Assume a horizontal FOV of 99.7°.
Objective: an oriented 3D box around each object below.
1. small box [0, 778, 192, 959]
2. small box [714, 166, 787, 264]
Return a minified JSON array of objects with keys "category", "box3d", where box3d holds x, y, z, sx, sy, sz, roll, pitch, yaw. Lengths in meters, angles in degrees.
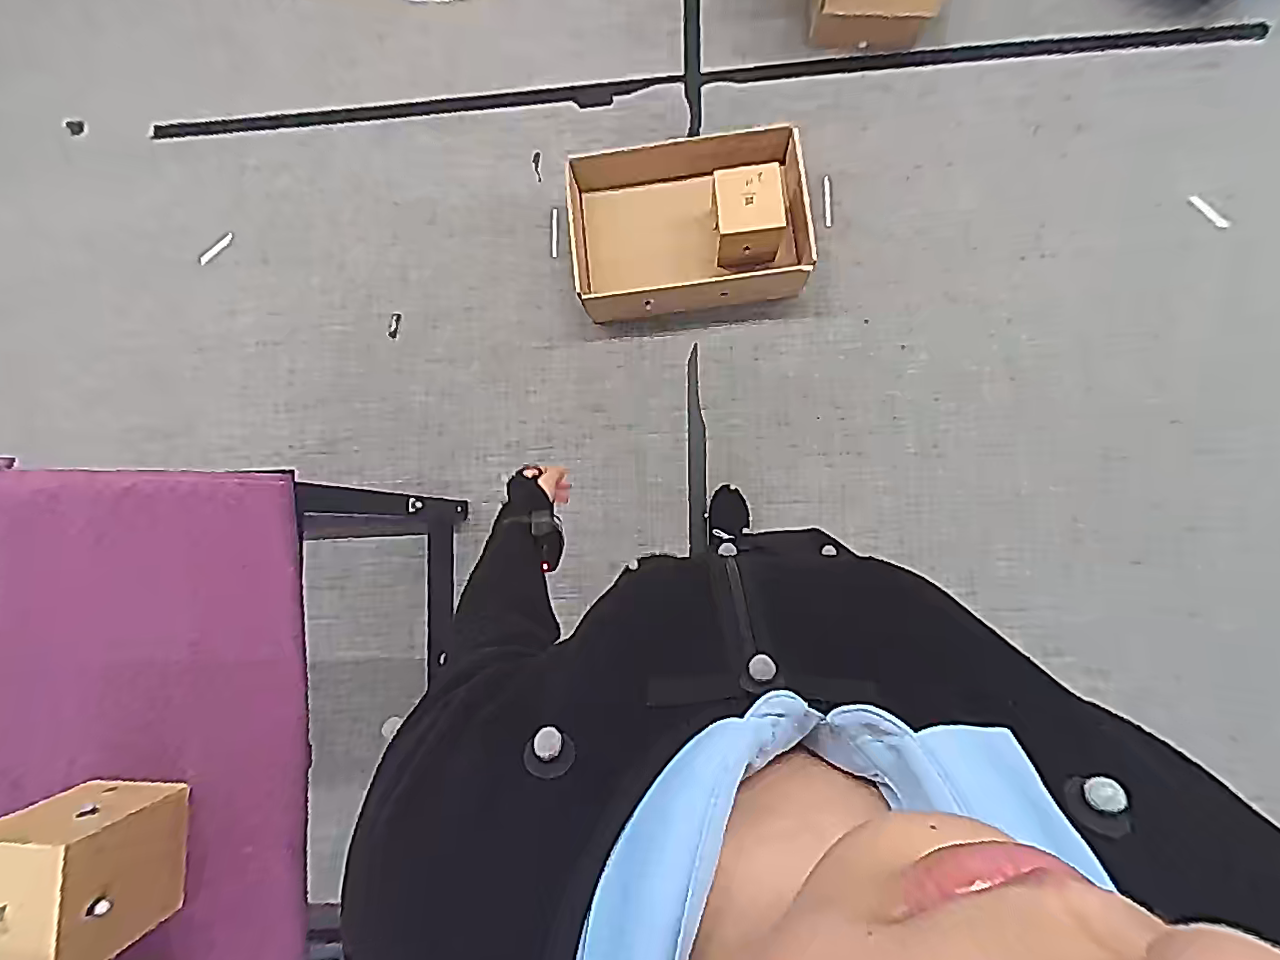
[{"category":"small box","box3d":[-0.751,0.525,0.725,0.168,0.176,0.179,-1,85,5]},{"category":"small box","box3d":[0.287,-0.693,1.438,0.168,0.176,0.179,-5,83,4]}]
